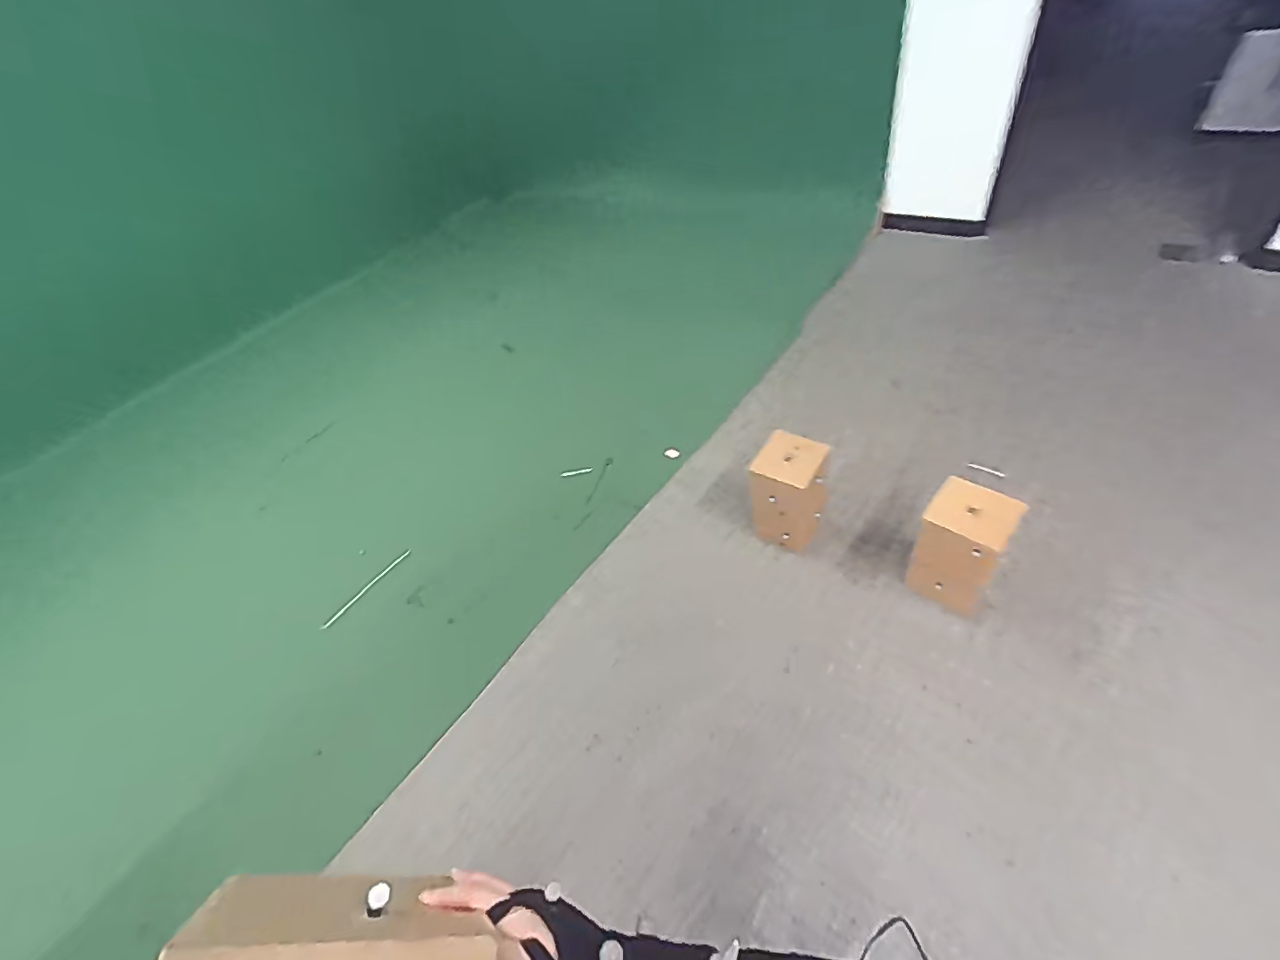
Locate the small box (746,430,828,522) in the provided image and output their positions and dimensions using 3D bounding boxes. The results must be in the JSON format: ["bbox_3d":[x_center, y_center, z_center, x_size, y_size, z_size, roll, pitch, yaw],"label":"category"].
[{"bbox_3d":[0.425,-0.008,1.555,0.168,0.176,0.179,24,59,30],"label":"small box"}]

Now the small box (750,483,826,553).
[{"bbox_3d":[0.461,0.097,1.676,0.168,0.176,0.179,25,59,31],"label":"small box"}]

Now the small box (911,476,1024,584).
[{"bbox_3d":[0.796,0.127,1.332,0.179,0.176,0.168,30,62,34],"label":"small box"}]
